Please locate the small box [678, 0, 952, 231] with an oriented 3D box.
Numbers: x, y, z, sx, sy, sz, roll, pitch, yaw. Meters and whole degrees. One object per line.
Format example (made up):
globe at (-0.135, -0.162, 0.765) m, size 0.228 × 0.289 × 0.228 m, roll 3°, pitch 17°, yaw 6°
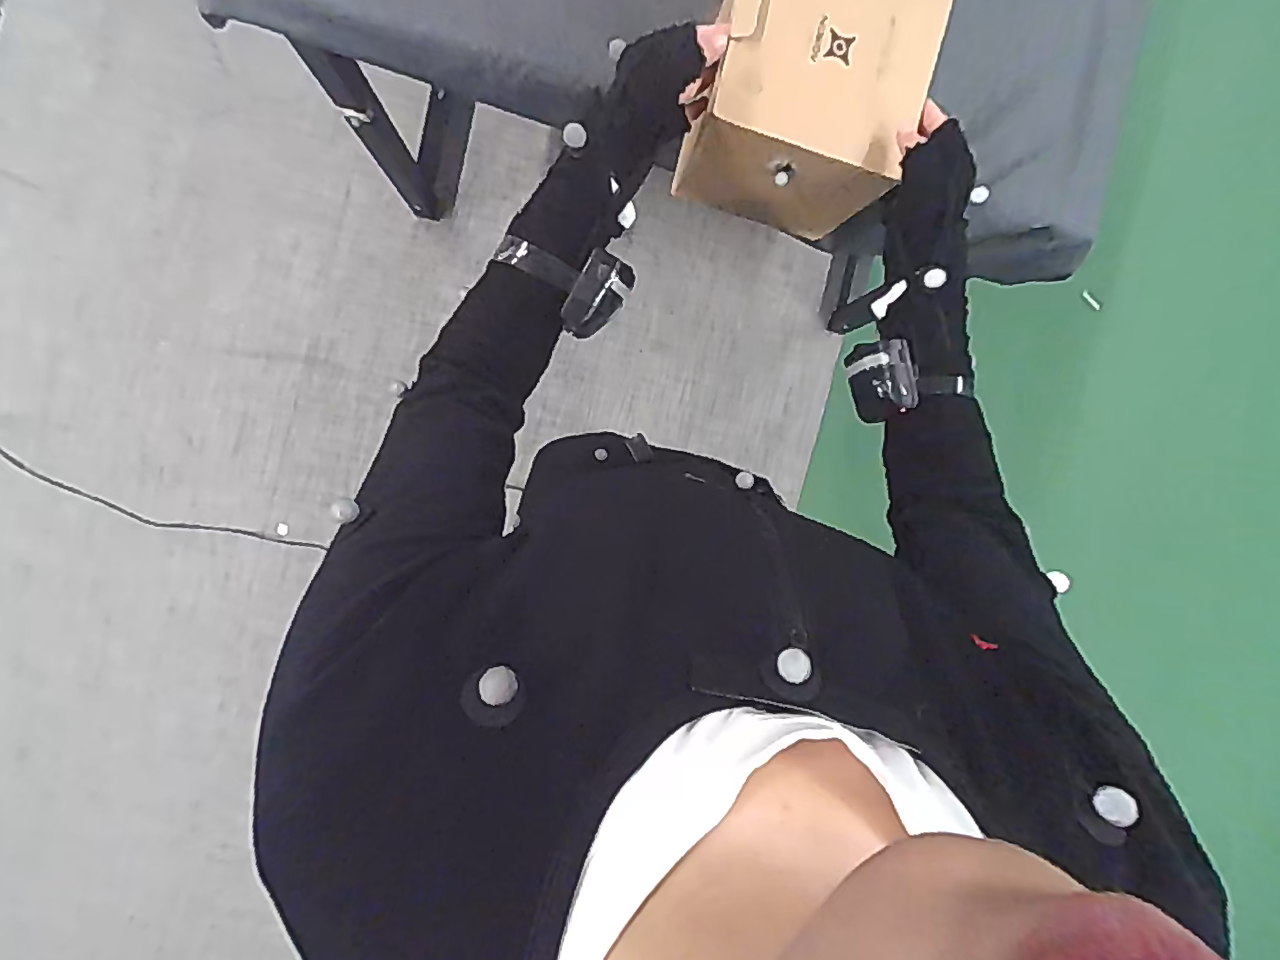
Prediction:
small box at (0.148, -0.363, 0.518) m, size 0.179 × 0.176 × 0.168 m, roll 12°, pitch 96°, yaw -10°
